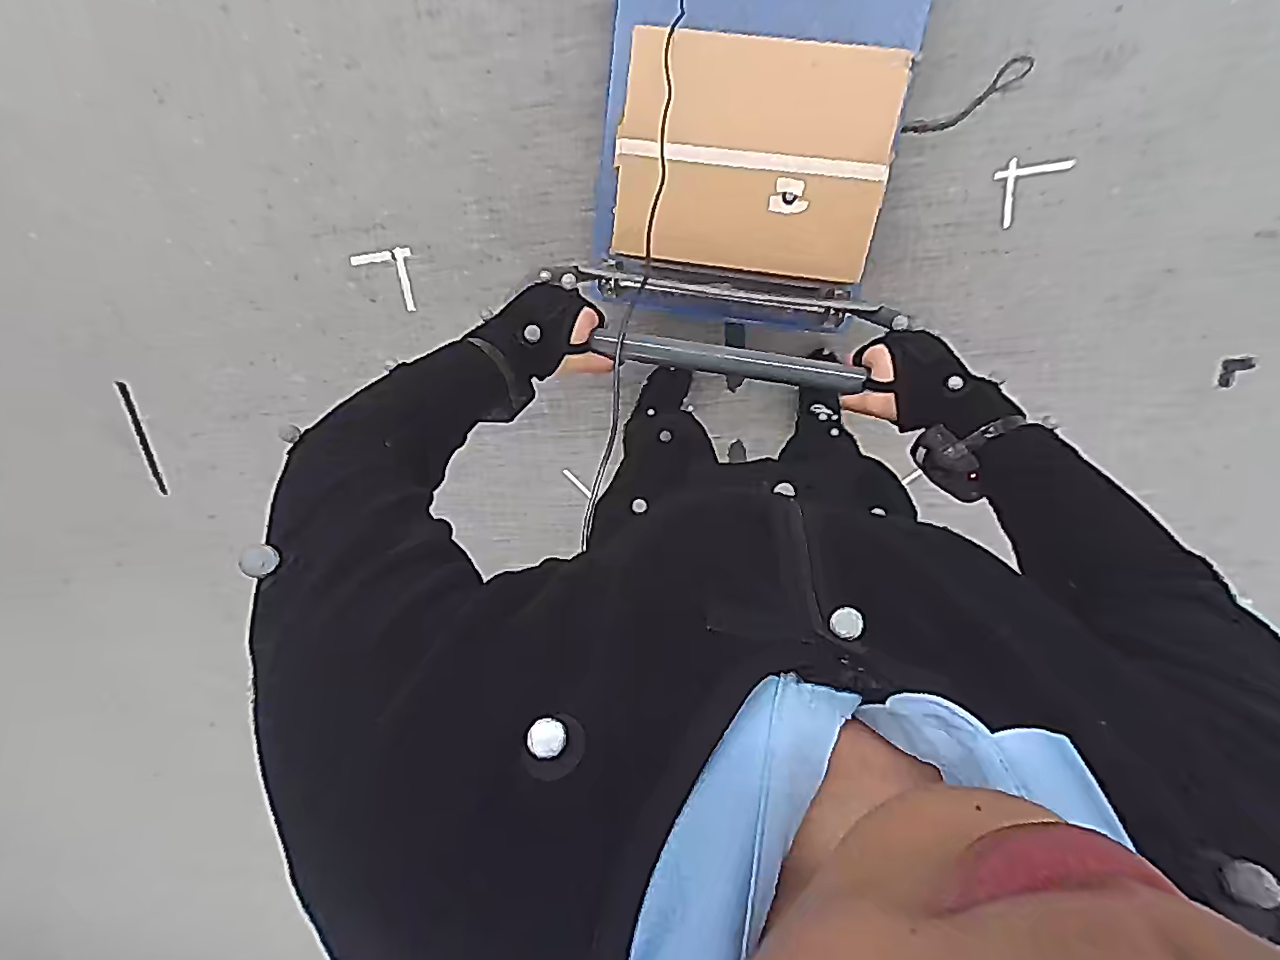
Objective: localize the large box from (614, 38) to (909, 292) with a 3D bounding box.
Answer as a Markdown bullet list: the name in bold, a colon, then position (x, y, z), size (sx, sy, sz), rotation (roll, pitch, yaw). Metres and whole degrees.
- **large box**: position (0.184, -0.522, 0.966), size (0.408, 0.320, 0.320), rotation (9, 110, 4)
